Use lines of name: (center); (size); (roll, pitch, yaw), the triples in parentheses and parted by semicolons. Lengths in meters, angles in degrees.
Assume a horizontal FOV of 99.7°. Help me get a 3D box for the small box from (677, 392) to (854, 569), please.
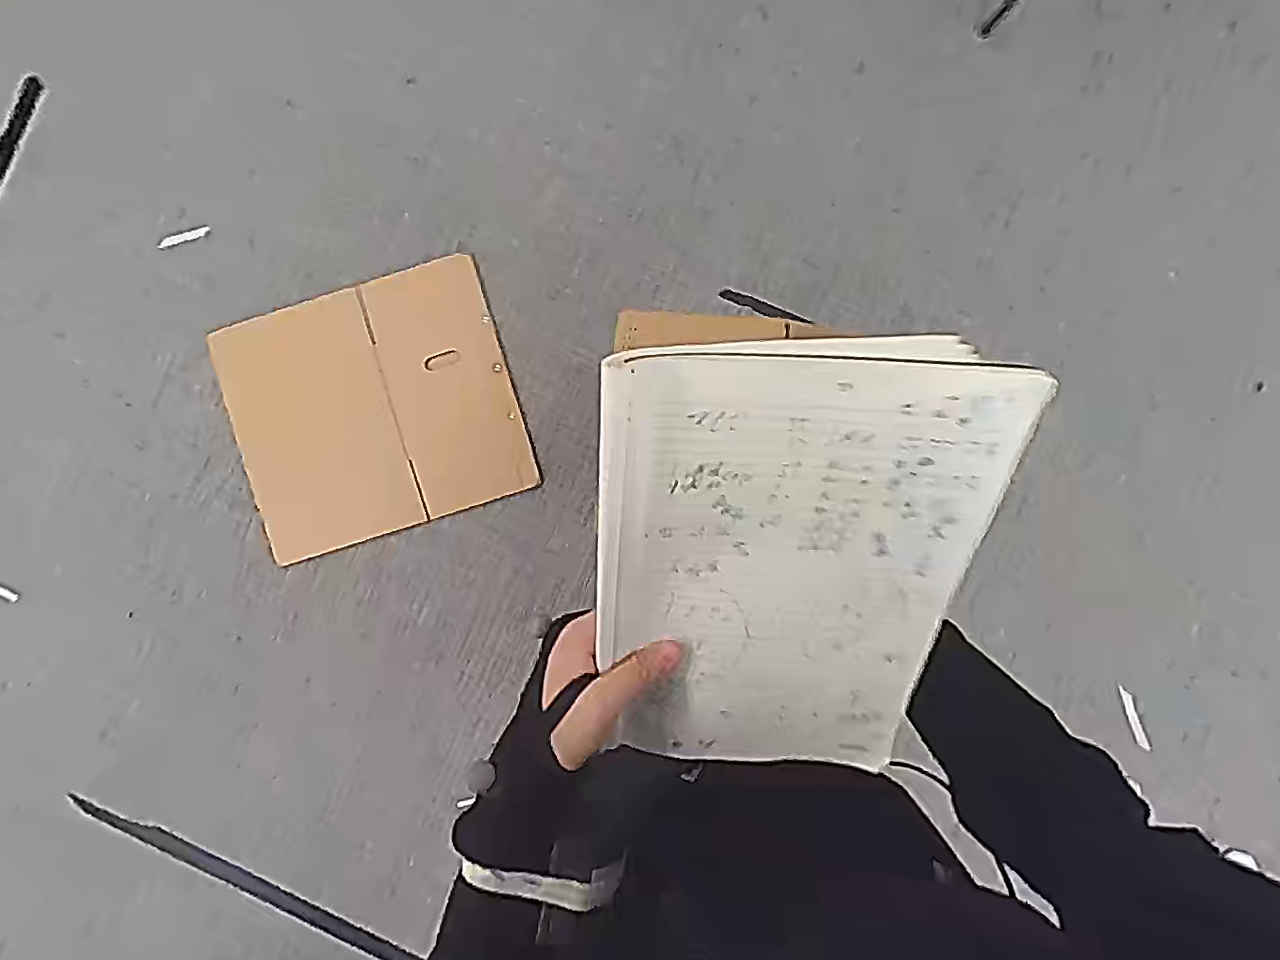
small box: (0.164, -0.001, 0.762); (0.168, 0.176, 0.179); (27, 92, 2)
